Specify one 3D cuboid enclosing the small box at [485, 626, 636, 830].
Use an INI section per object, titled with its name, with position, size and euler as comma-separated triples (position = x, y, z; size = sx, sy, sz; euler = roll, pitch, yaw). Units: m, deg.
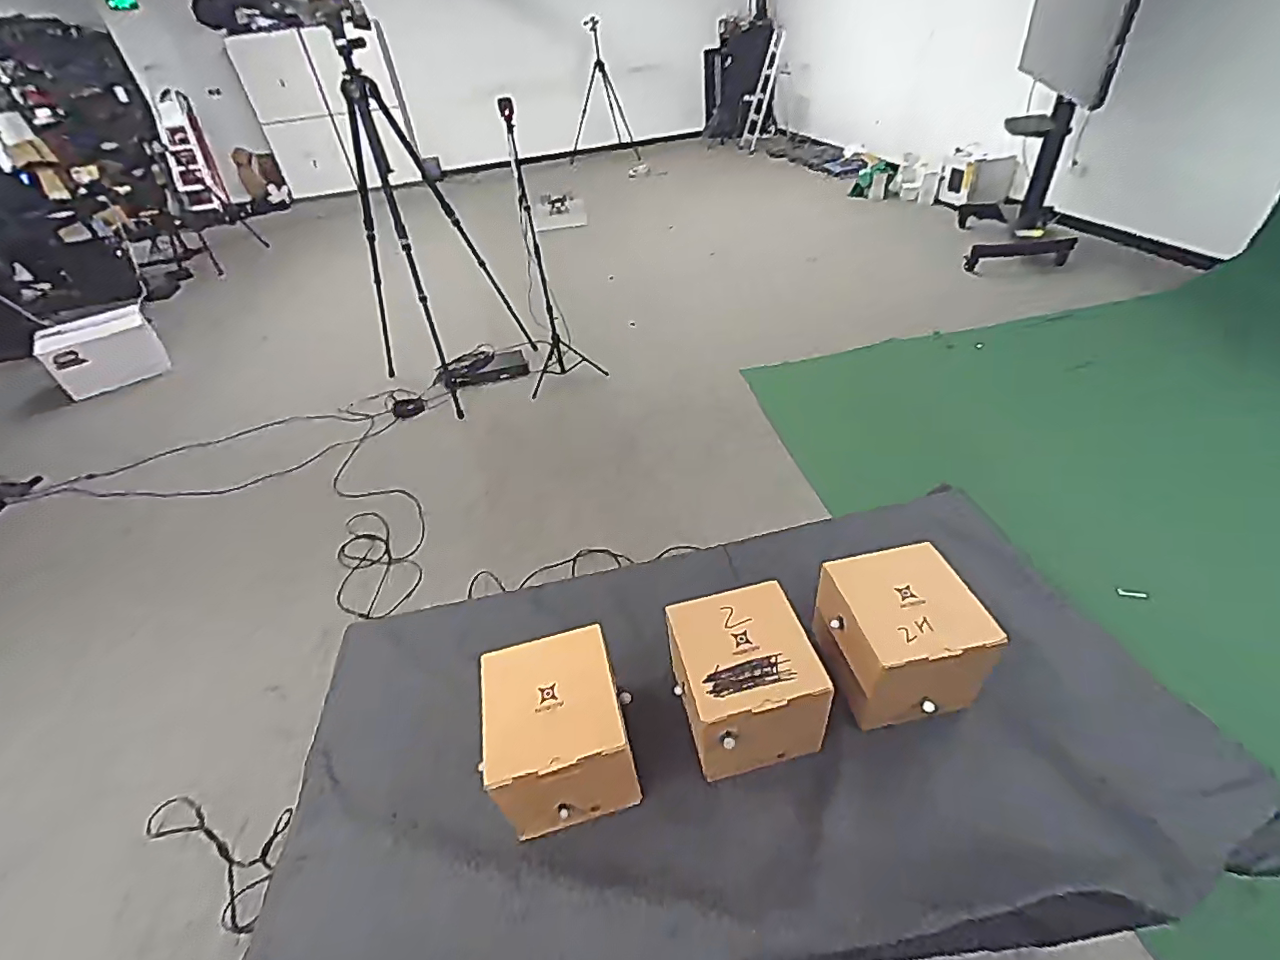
[small box]
position = -0.107, 0.333, 0.733
size = 0.168, 0.176, 0.179
euler = -13, 41, -7
